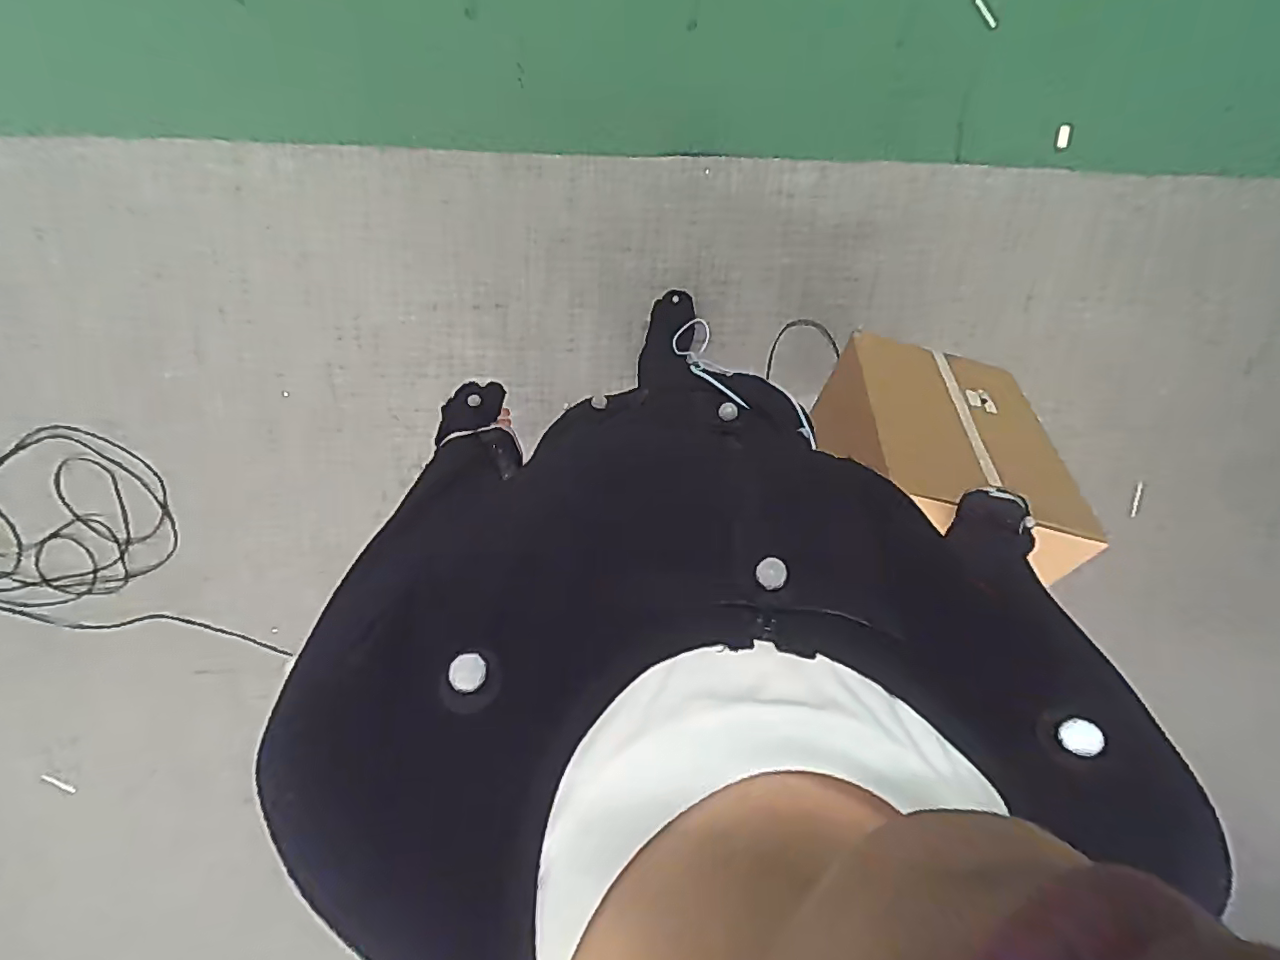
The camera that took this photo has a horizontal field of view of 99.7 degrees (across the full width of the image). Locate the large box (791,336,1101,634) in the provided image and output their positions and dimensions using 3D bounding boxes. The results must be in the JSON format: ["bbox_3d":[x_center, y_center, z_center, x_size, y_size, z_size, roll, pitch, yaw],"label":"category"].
[{"bbox_3d":[0.483,0.006,0.974,0.320,0.408,0.320,14,135,-3],"label":"large box"}]
